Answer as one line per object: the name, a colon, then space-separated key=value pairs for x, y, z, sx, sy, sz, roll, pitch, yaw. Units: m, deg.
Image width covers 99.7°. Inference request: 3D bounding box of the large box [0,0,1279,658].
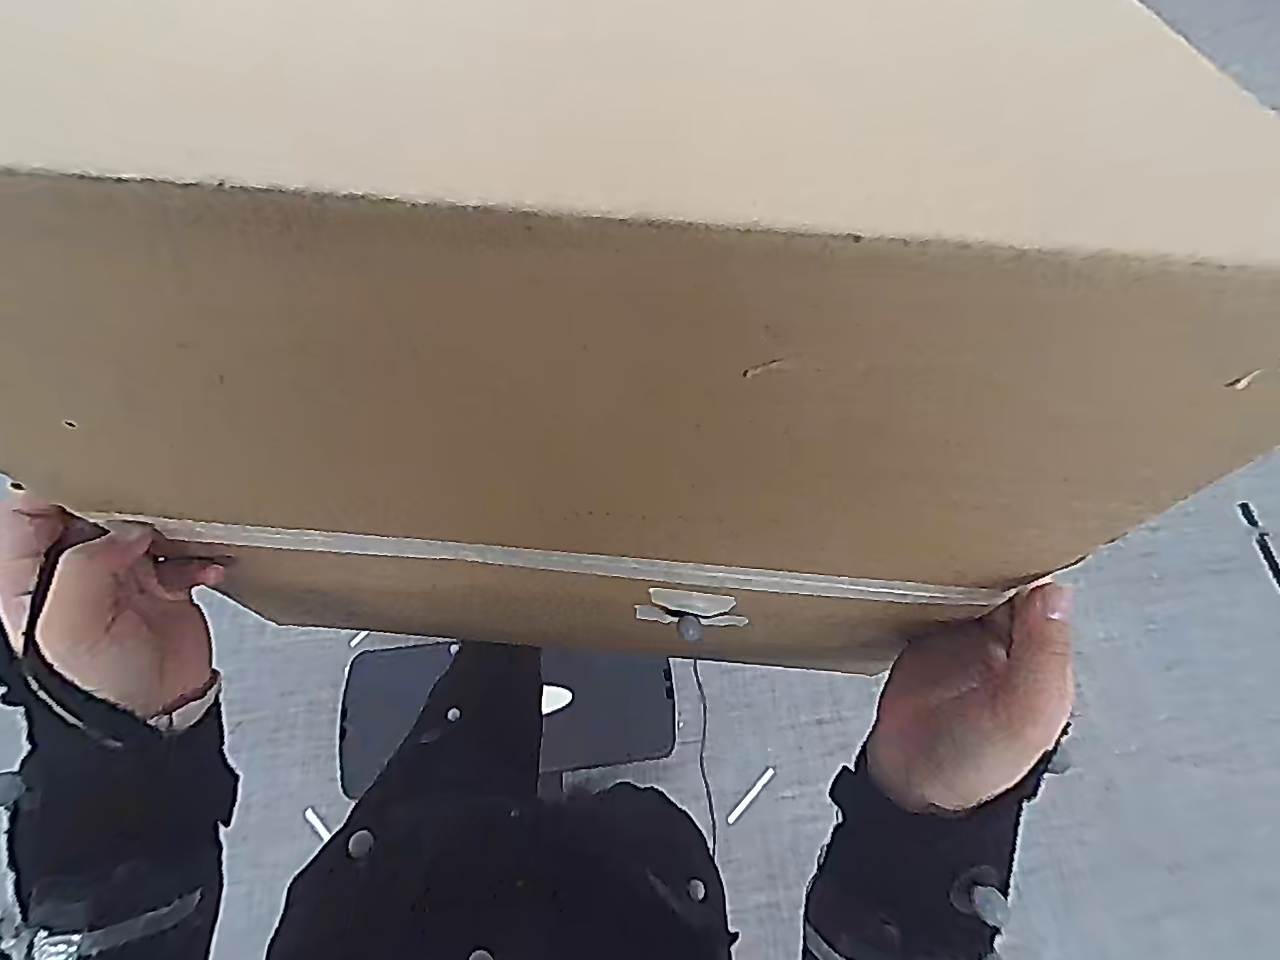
large box: x=-0.033 y=-0.099 z=0.328 sx=0.408 sy=0.320 sz=0.320 roll=4 pitch=58 yaw=0
